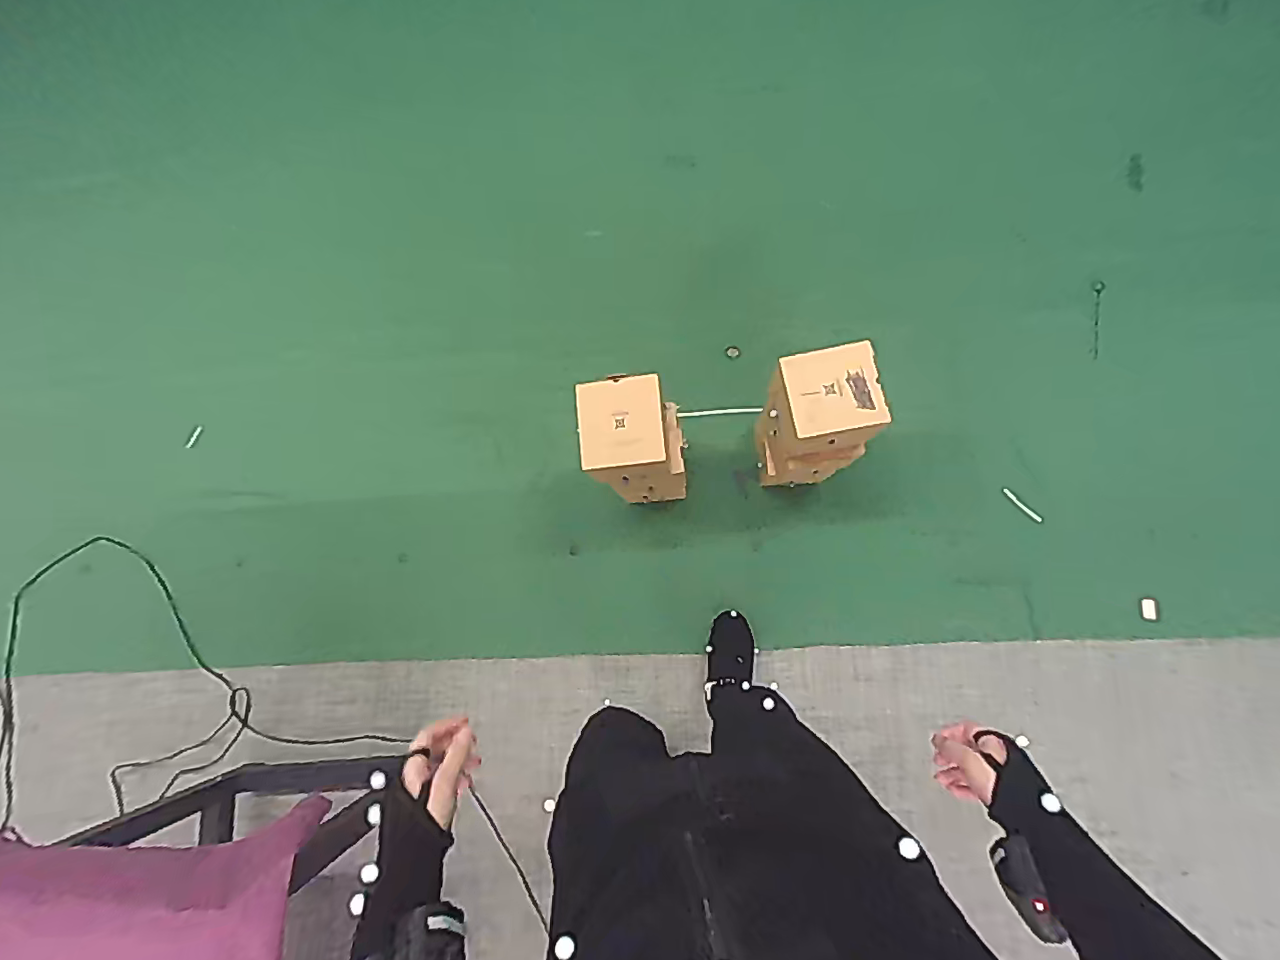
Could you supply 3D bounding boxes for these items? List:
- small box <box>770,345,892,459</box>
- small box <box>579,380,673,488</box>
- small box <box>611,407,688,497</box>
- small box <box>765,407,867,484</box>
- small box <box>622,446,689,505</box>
[{"bbox_3d":[0.373,-0.149,1.086,0.179,0.176,0.168,-11,79,5],"label":"small box"},{"bbox_3d":[-0.025,-0.089,1.123,0.168,0.176,0.179,-6,79,8],"label":"small box"},{"bbox_3d":[0.017,-0.060,1.280,0.179,0.176,0.168,-8,78,5],"label":"small box"},{"bbox_3d":[0.394,-0.102,1.244,0.168,0.176,0.179,-13,79,4],"label":"small box"},{"bbox_3d":[0.040,-0.030,1.439,0.168,0.176,0.179,-5,78,6],"label":"small box"}]
